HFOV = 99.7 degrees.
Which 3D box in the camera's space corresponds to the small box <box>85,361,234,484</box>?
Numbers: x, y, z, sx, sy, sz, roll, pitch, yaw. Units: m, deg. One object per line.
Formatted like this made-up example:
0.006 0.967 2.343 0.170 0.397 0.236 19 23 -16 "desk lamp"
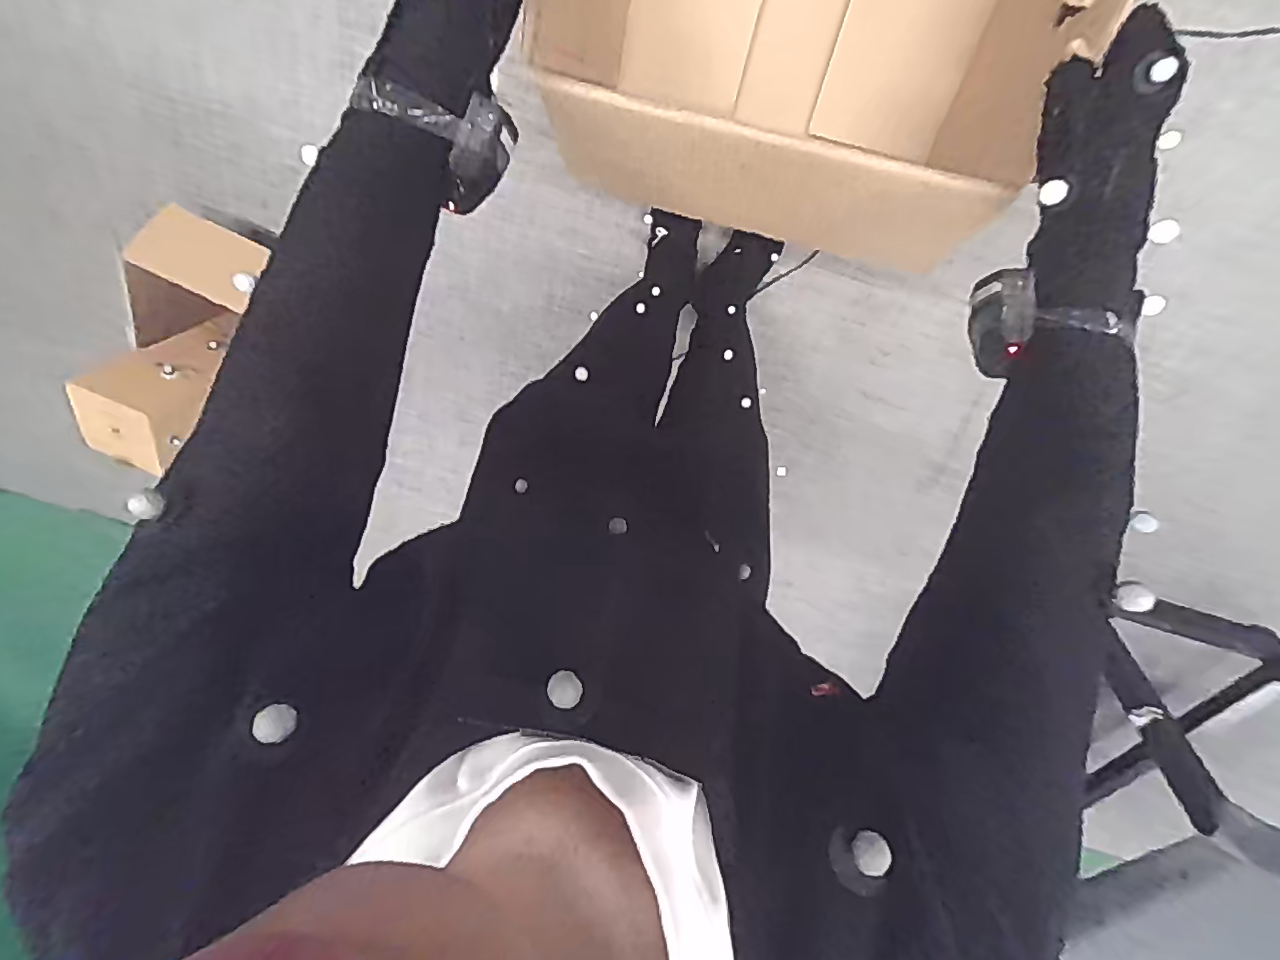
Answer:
-1.033 -0.129 1.185 0.168 0.176 0.179 22 128 -4 "small box"
